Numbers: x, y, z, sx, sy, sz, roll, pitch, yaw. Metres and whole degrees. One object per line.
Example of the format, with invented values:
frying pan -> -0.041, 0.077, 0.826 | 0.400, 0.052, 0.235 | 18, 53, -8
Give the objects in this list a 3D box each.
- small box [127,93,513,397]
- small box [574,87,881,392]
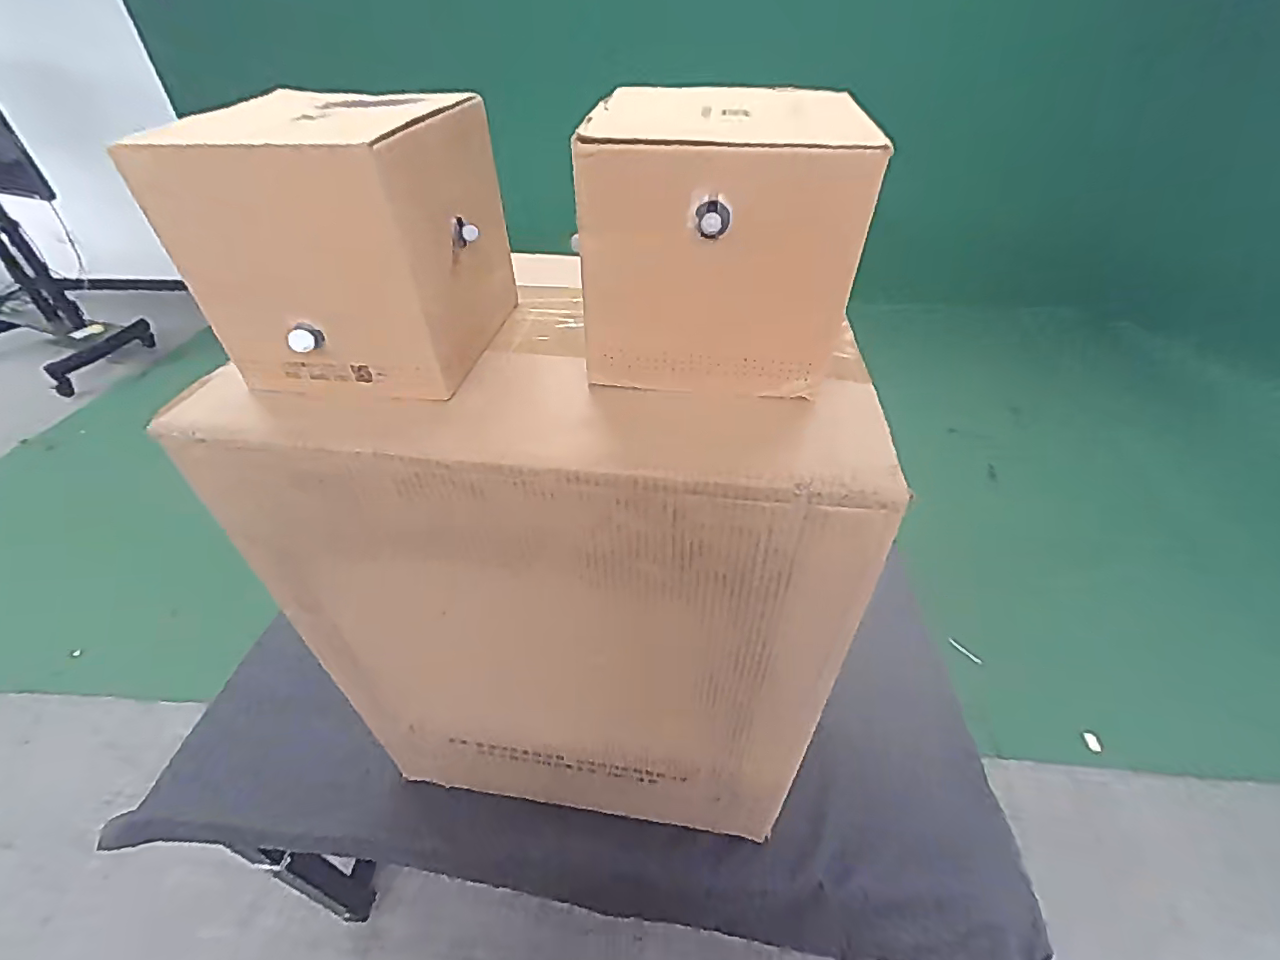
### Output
small box -> -0.209, -0.186, 0.421 | 0.168, 0.176, 0.179 | 4, 44, 7
small box -> 0.056, -0.183, 0.413 | 0.179, 0.176, 0.168 | 6, 44, 4
